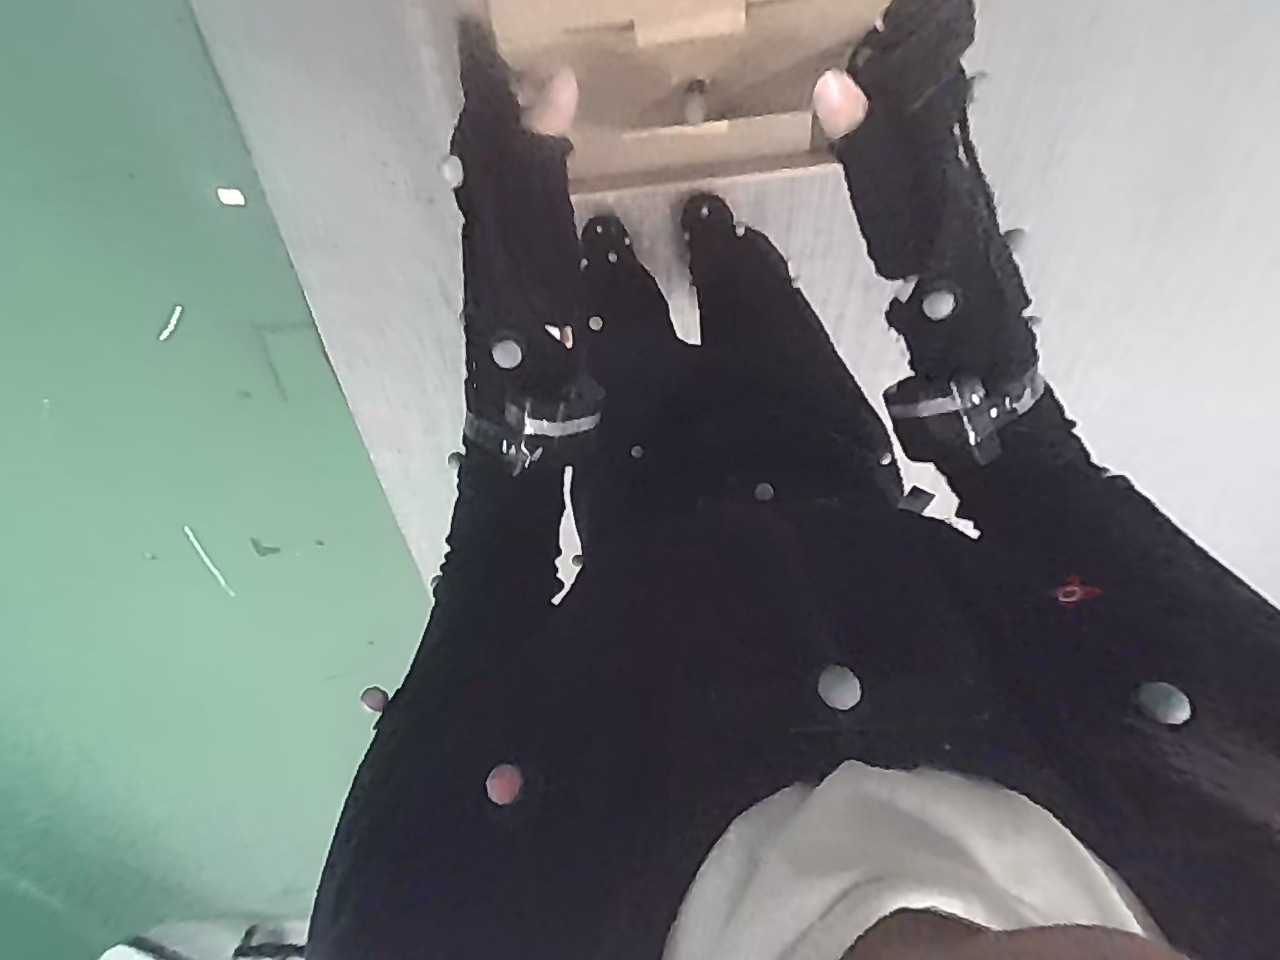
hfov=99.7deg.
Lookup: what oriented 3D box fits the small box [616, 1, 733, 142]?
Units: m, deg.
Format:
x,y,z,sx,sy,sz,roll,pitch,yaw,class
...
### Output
x,y,z,sx,sy,sz,roll,pitch,yaw,class
0.056,-0.676,0.903,0.179,0.176,0.168,-5,126,3,small box
